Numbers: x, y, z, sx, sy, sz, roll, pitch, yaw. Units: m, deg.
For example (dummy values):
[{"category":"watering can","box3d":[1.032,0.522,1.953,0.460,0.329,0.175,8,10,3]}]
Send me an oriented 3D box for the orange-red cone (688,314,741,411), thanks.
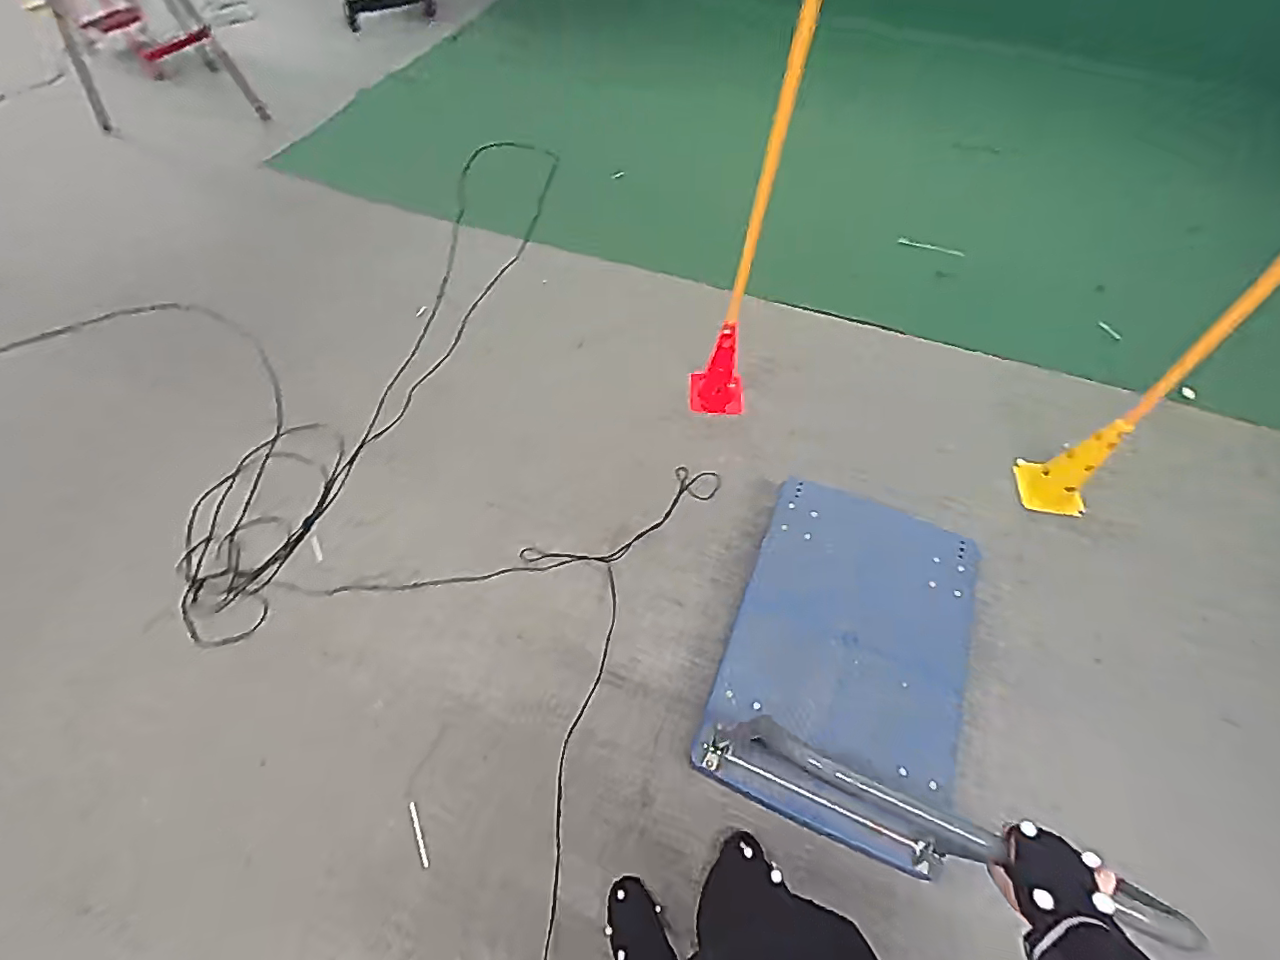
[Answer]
[{"category":"orange-red cone","box3d":[0.283,-0.433,1.906,0.199,0.360,0.198,4,57,3]}]
